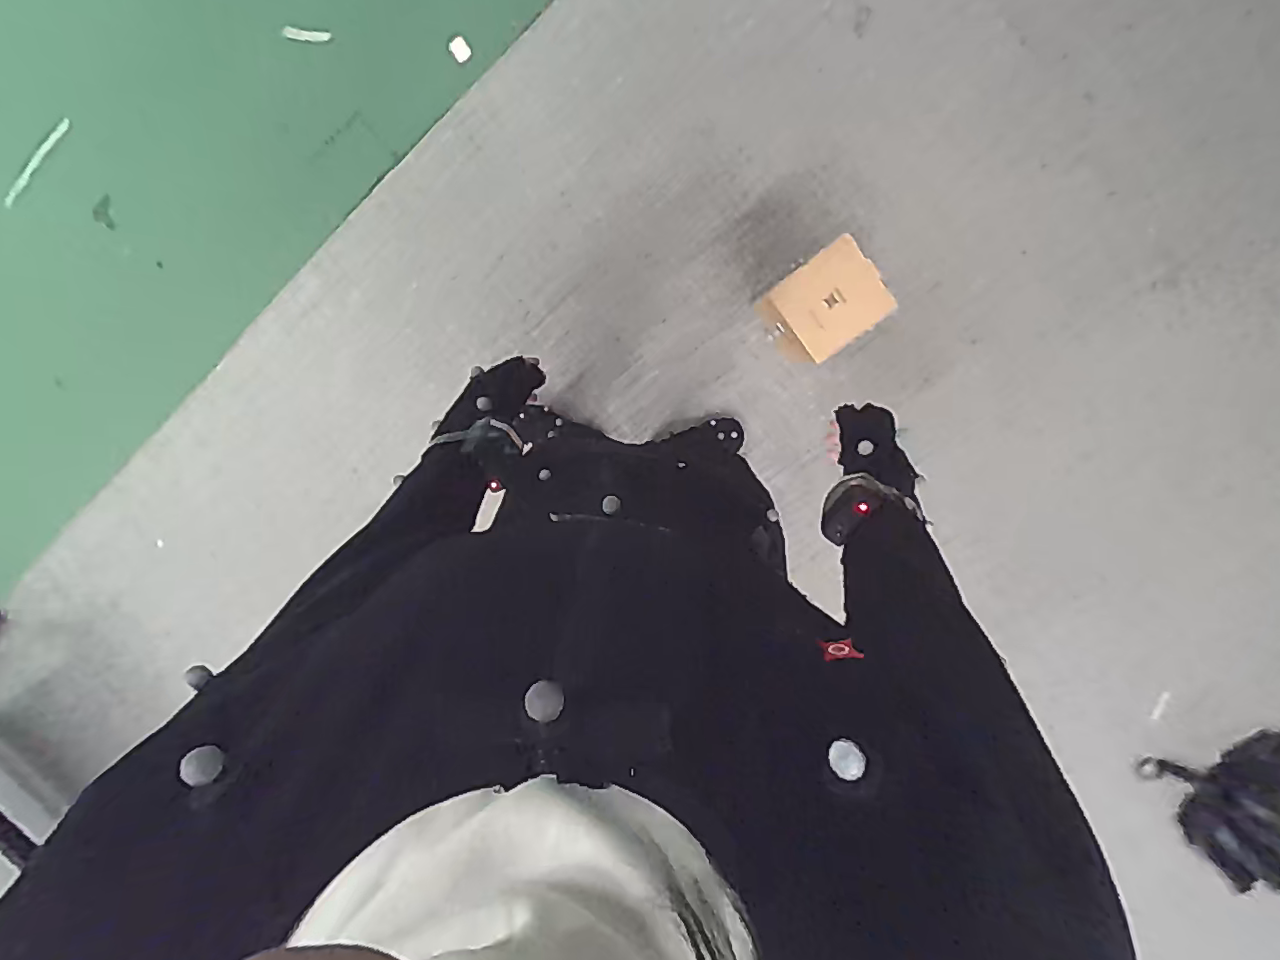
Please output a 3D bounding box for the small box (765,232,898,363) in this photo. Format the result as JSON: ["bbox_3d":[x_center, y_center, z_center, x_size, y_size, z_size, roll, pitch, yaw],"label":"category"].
[{"bbox_3d":[0.363,-0.349,1.062,0.179,0.176,0.168,-35,95,15],"label":"small box"}]

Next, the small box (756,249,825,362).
[{"bbox_3d":[0.380,-0.388,1.220,0.168,0.176,0.179,-34,98,13],"label":"small box"}]
